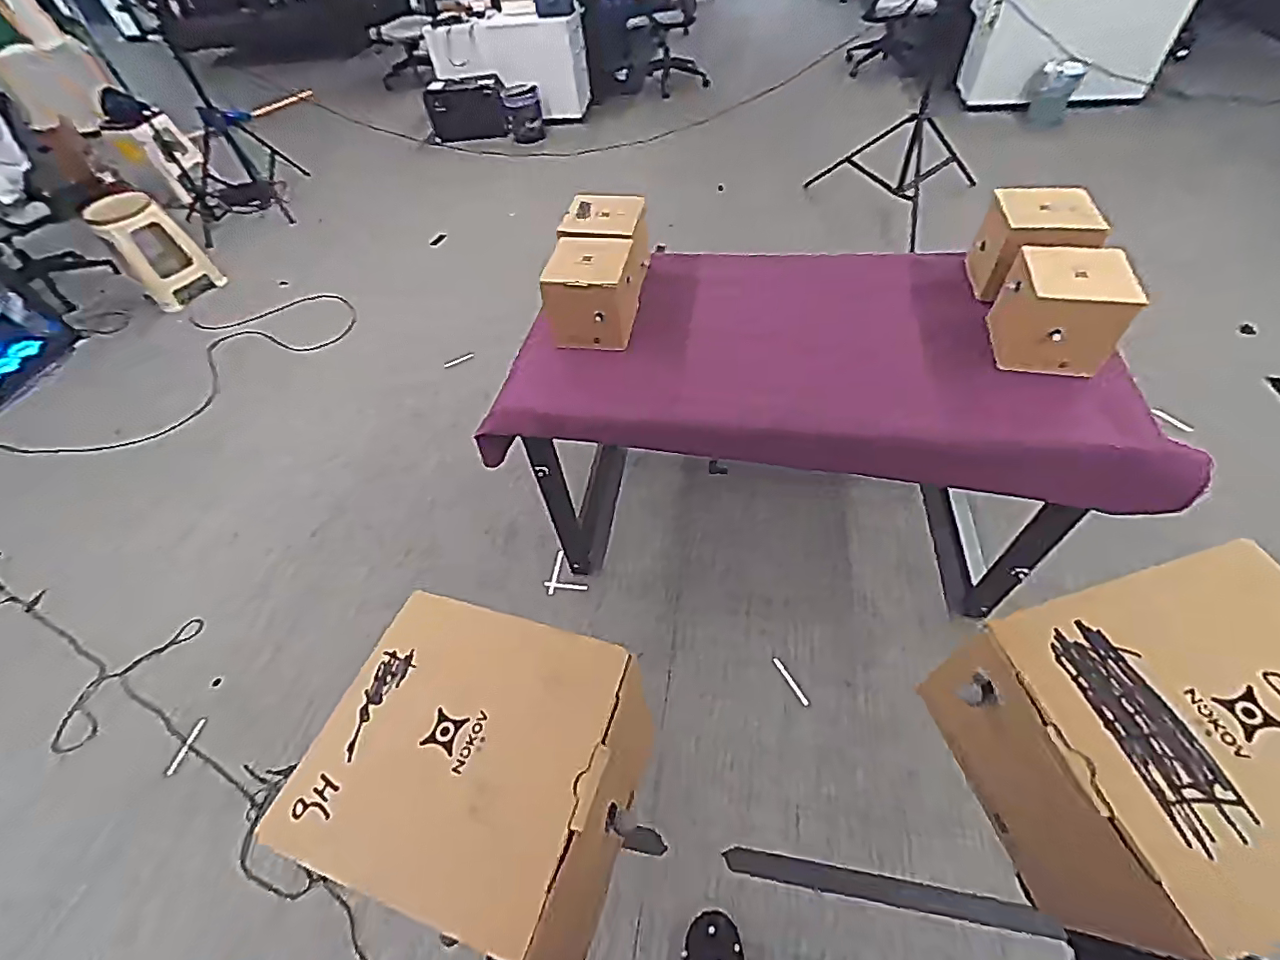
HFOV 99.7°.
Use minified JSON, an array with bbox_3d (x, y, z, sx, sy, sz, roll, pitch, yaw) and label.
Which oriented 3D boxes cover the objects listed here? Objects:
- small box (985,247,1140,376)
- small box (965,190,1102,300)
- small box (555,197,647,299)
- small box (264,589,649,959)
[{"bbox_3d":[0.788,-0.320,1.032,0.168,0.176,0.179,8,52,13],"label":"small box"},{"bbox_3d":[0.824,-0.499,1.160,0.179,0.176,0.168,6,54,9],"label":"small box"},{"bbox_3d":[-0.086,-0.556,1.299,0.179,0.176,0.168,7,55,10],"label":"small box"},{"bbox_3d":[-0.100,0.208,0.389,0.179,0.176,0.168,12,51,16],"label":"small box"}]
